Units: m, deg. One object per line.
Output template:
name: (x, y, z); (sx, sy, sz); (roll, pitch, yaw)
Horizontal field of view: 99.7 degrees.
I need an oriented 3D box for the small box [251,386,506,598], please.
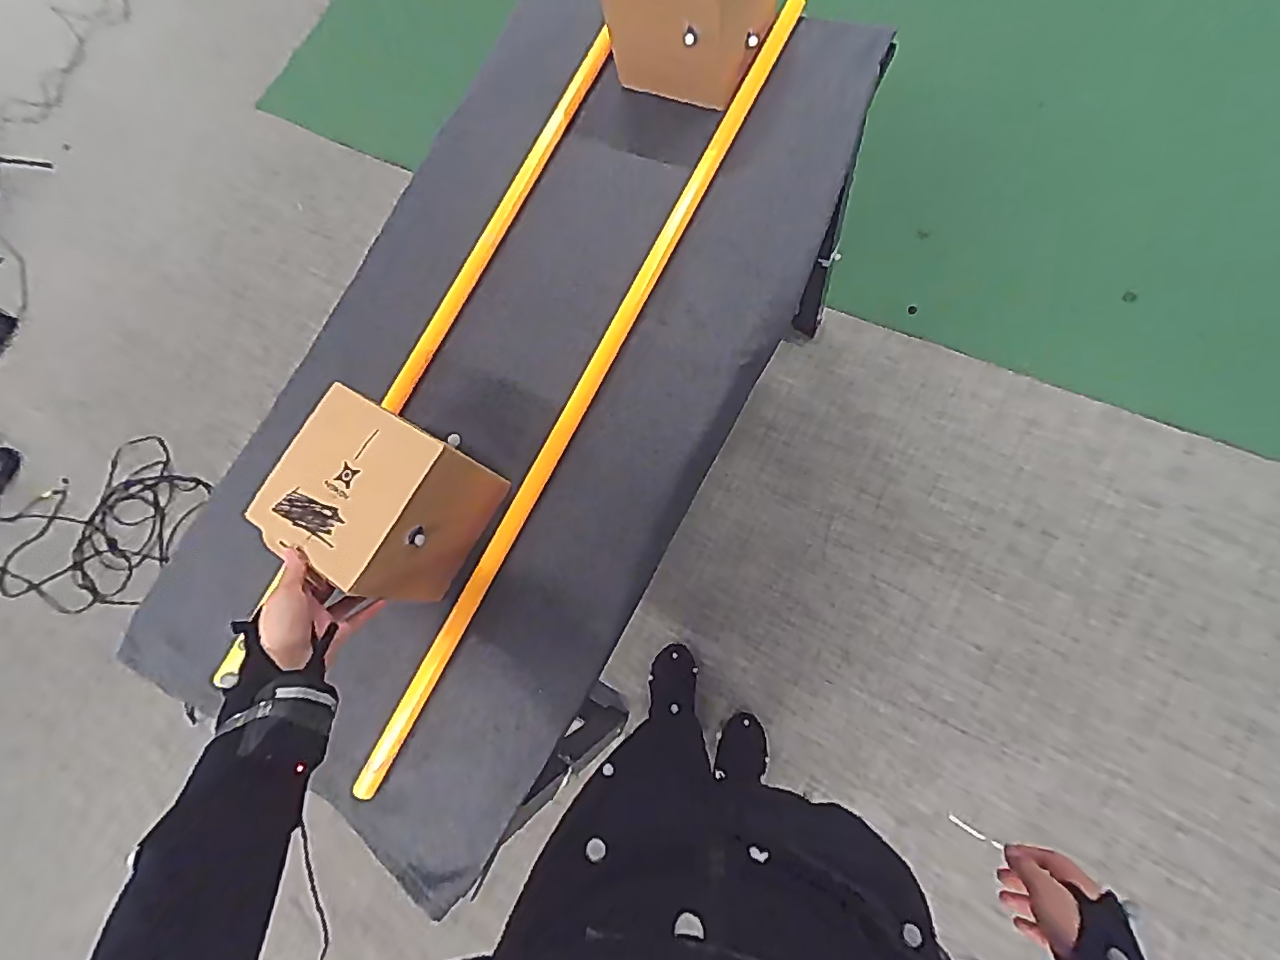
small box: (-0.288, 0.026, 0.636); (0.168, 0.176, 0.179); (28, 82, 16)
